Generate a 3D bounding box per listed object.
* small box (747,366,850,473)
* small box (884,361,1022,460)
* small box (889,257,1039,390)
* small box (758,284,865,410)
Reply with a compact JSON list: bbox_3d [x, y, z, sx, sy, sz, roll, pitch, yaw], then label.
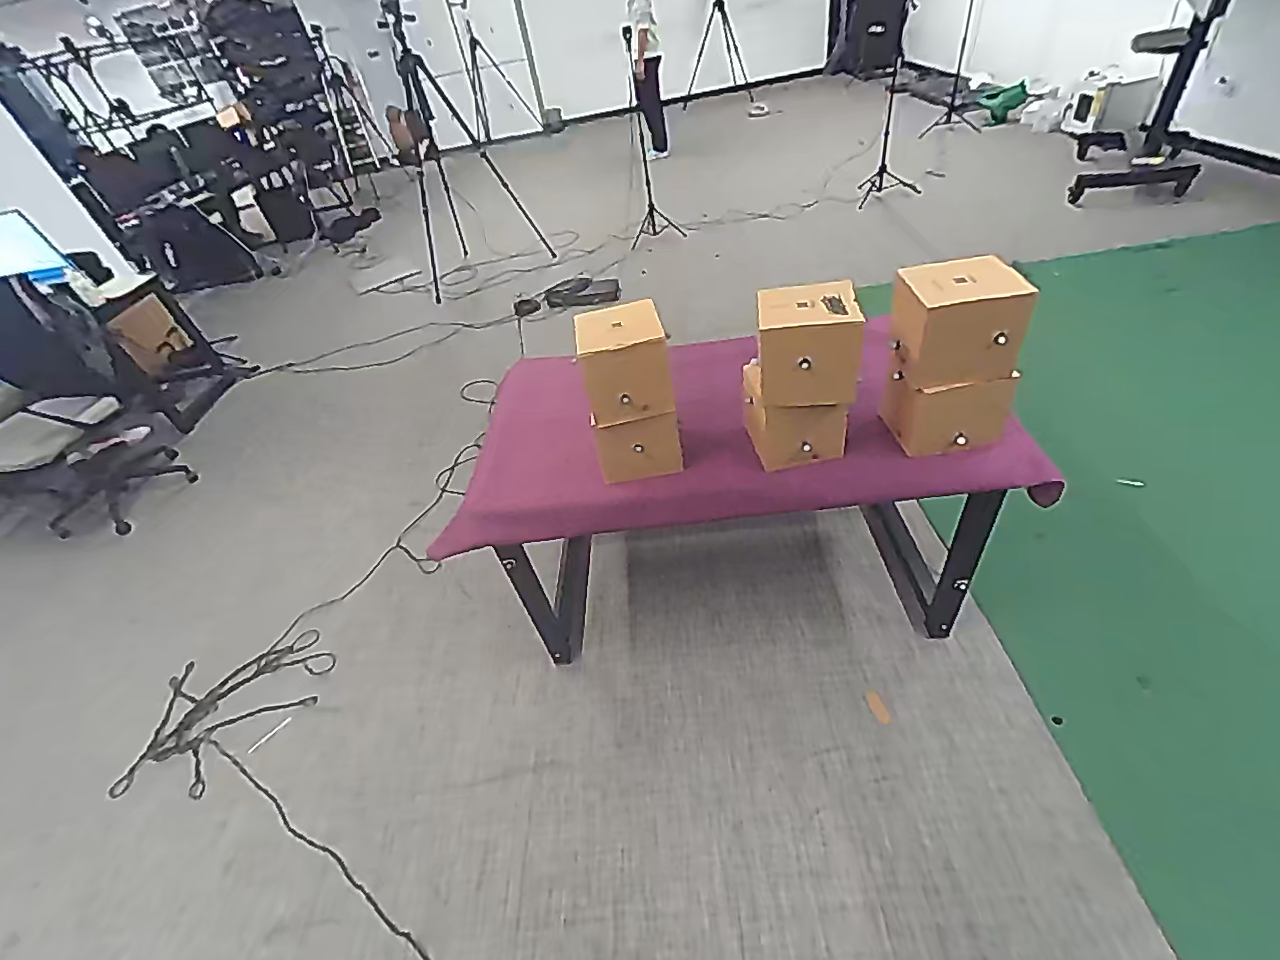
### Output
[{"bbox_3d":[0.329,-0.141,1.152,0.168,0.176,0.179,-12,41,3],"label":"small box"},{"bbox_3d":[0.621,-0.163,1.100,0.179,0.176,0.168,-10,41,4],"label":"small box"},{"bbox_3d":[0.581,-0.286,0.999,0.179,0.176,0.168,-7,42,9],"label":"small box"},{"bbox_3d":[0.316,-0.249,1.026,0.179,0.176,0.168,-2,42,14],"label":"small box"}]
